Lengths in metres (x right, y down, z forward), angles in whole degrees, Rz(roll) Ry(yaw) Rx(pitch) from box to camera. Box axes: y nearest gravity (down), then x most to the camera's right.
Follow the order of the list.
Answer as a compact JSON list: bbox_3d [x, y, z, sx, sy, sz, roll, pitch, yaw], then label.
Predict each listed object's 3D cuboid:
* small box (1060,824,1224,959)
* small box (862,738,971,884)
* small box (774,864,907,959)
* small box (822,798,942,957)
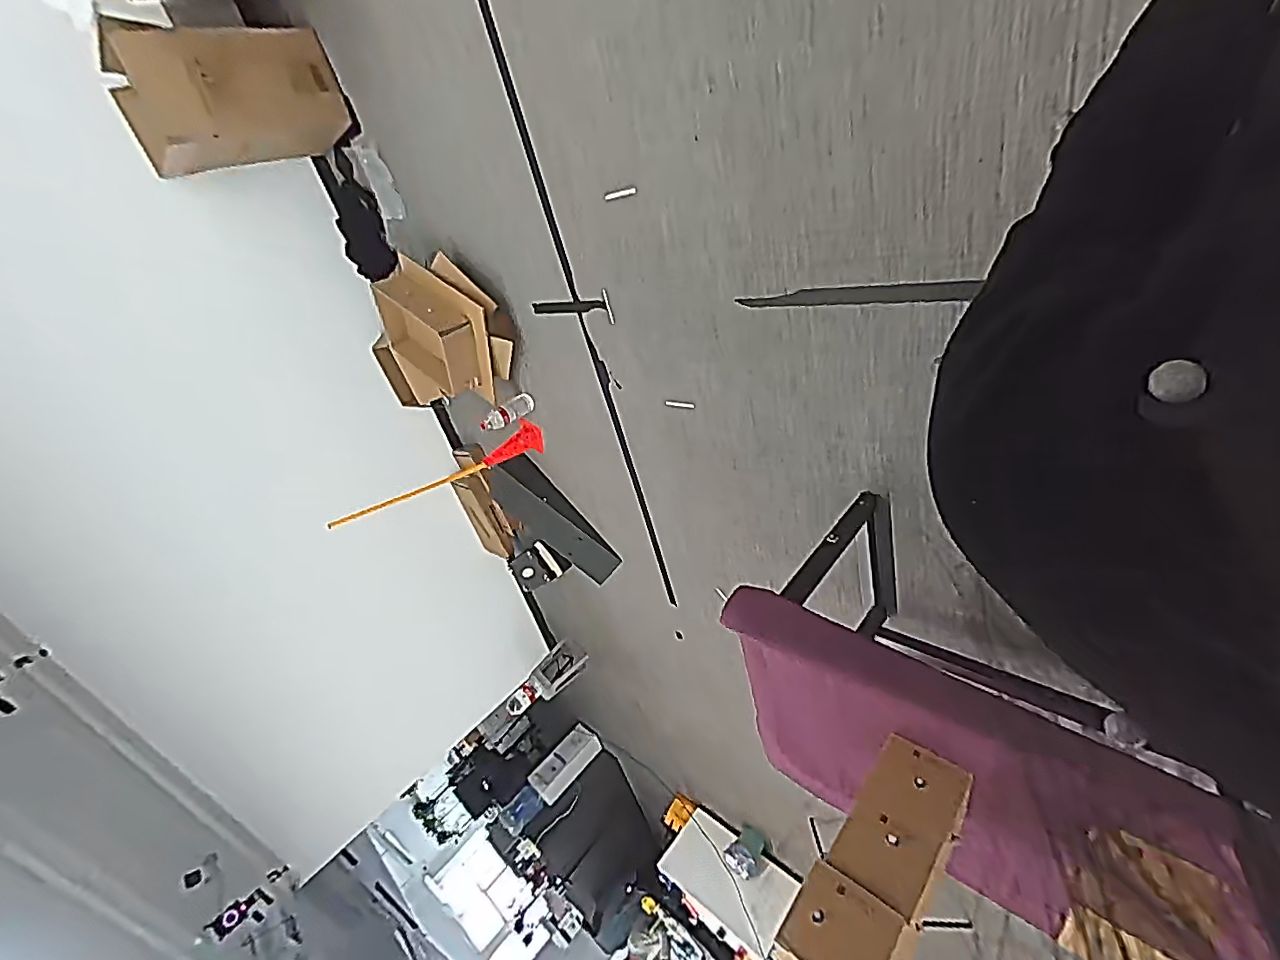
[{"bbox_3d":[0.827,0.722,0.895,0.168,0.176,0.179,16,133,42],"label":"small box"},{"bbox_3d":[0.589,0.698,1.158,0.168,0.176,0.179,18,134,41],"label":"small box"},{"bbox_3d":[0.365,0.850,0.973,0.168,0.176,0.179,15,132,44],"label":"small box"},{"bbox_3d":[0.479,0.785,1.072,0.168,0.176,0.179,17,133,41],"label":"small box"}]
